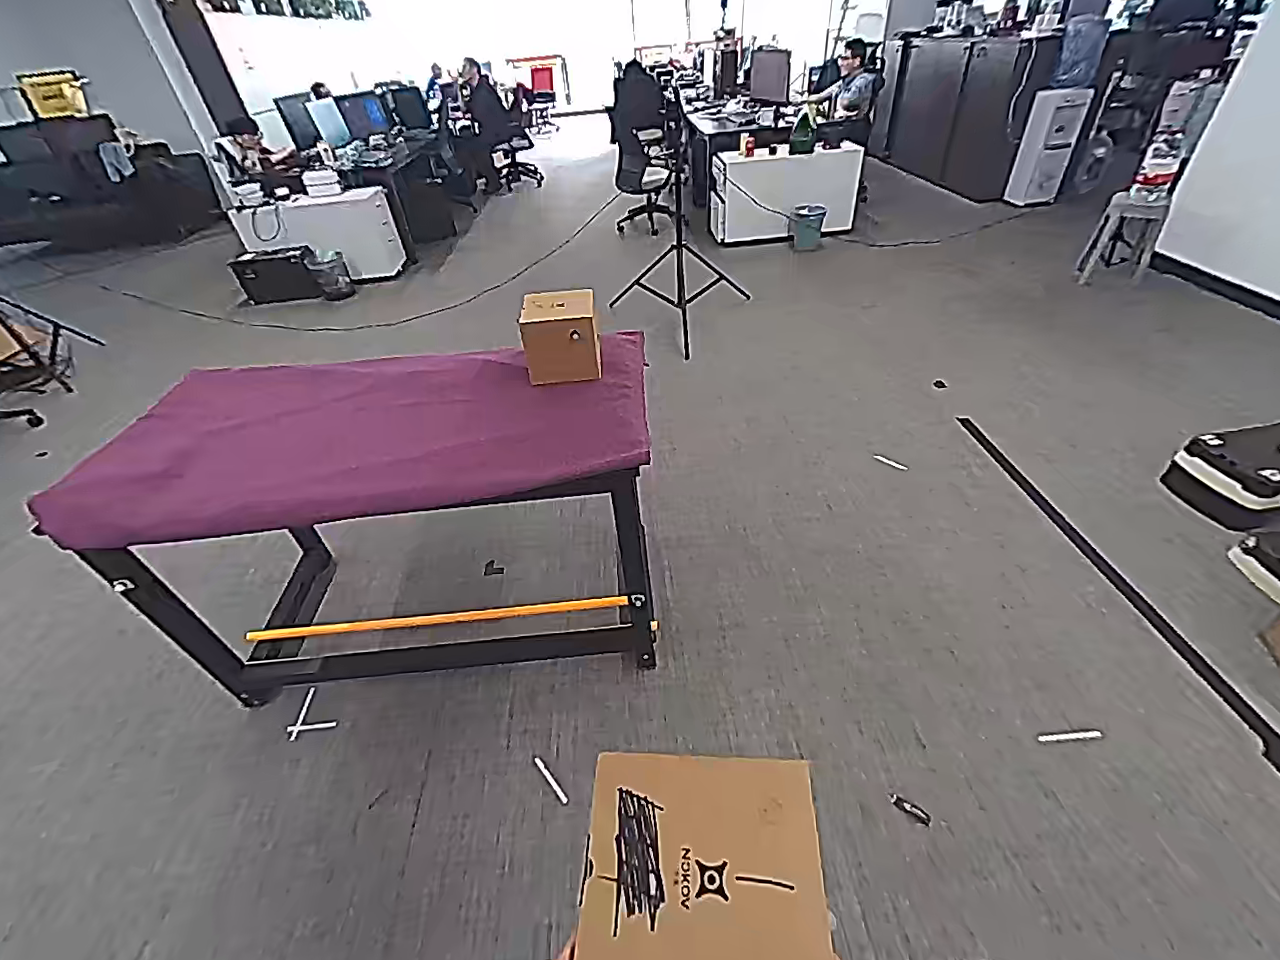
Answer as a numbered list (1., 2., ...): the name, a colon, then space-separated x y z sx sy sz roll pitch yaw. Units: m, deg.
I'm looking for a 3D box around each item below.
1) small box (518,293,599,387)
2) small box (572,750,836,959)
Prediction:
1. small box: -0.195 -0.351 1.361 0.179 0.176 0.168 -6 40 0
2. small box: 0.056 0.340 0.445 0.179 0.176 0.168 -3 45 9
